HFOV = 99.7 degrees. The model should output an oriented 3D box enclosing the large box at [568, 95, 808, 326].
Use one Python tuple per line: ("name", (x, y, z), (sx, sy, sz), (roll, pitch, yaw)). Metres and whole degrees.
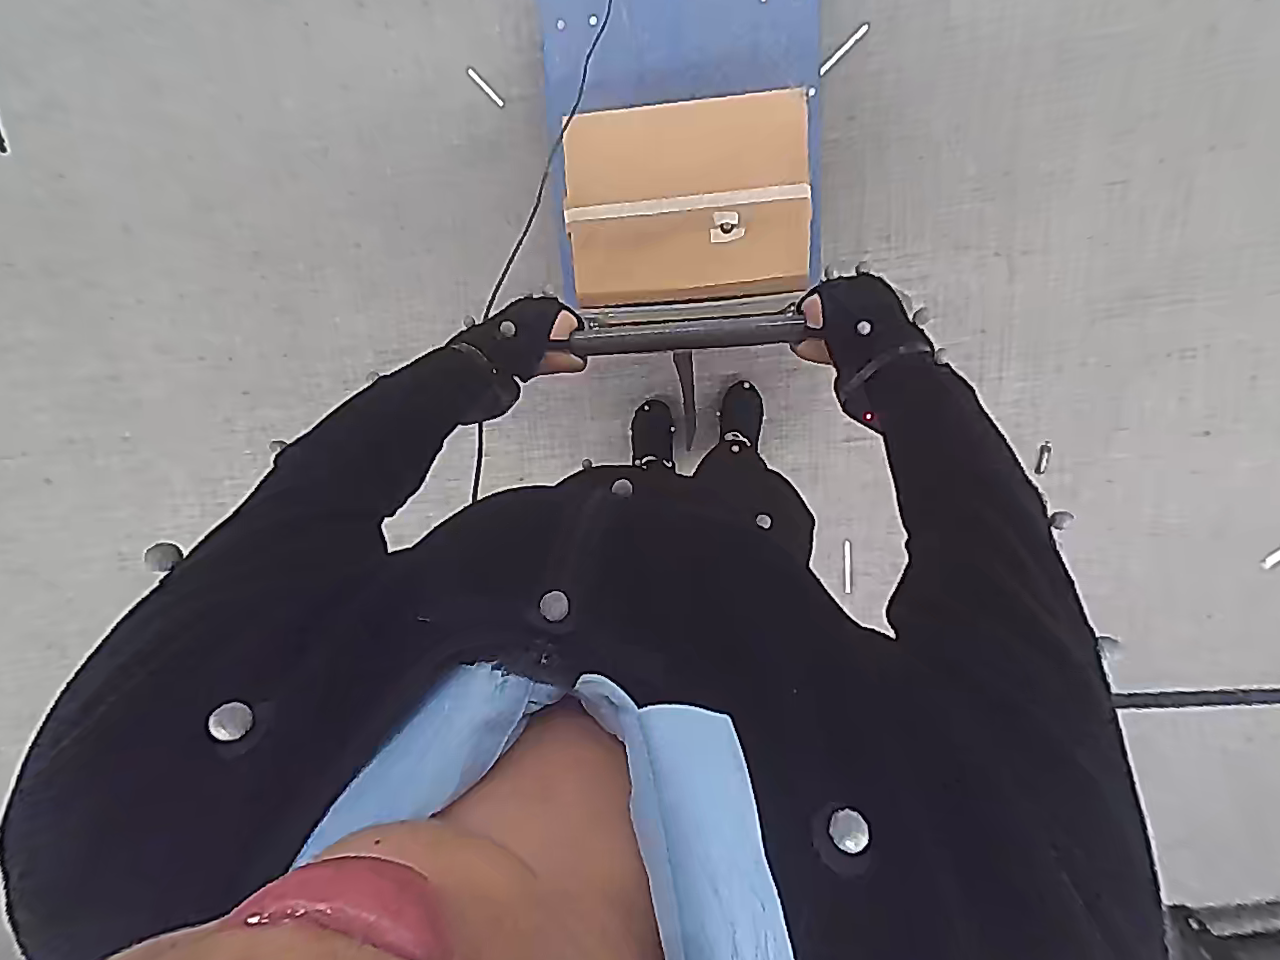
("large box", (0.095, -0.496, 1.077), (0.408, 0.320, 0.320), (-3, 101, 5))
